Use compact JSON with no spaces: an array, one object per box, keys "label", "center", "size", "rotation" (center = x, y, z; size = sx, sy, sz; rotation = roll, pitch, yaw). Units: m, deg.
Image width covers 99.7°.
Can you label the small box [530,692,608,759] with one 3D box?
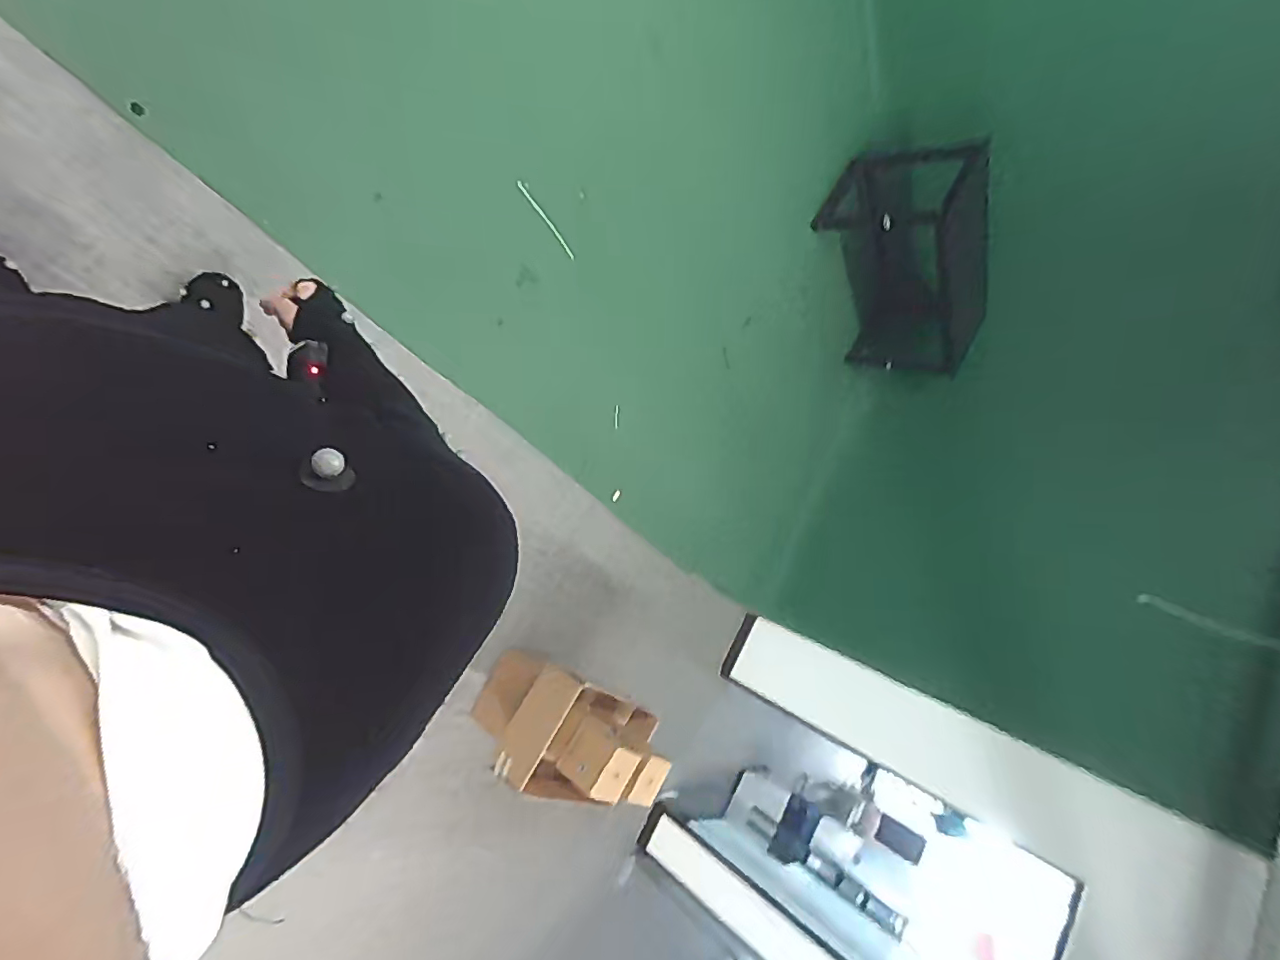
[{"label":"small box","center":[-0.250,0.869,1.892],"size":[0.168,0.176,0.179],"rotation":[-57,140,-15]}]

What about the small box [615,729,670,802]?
[{"label":"small box","center":[-0.028,1.034,1.962],"size":[0.168,0.176,0.179],"rotation":[-58,137,-14]}]

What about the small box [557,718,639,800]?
[{"label":"small box","center":[-0.140,0.914,1.780],"size":[0.168,0.176,0.179],"rotation":[-55,139,-16]}]
